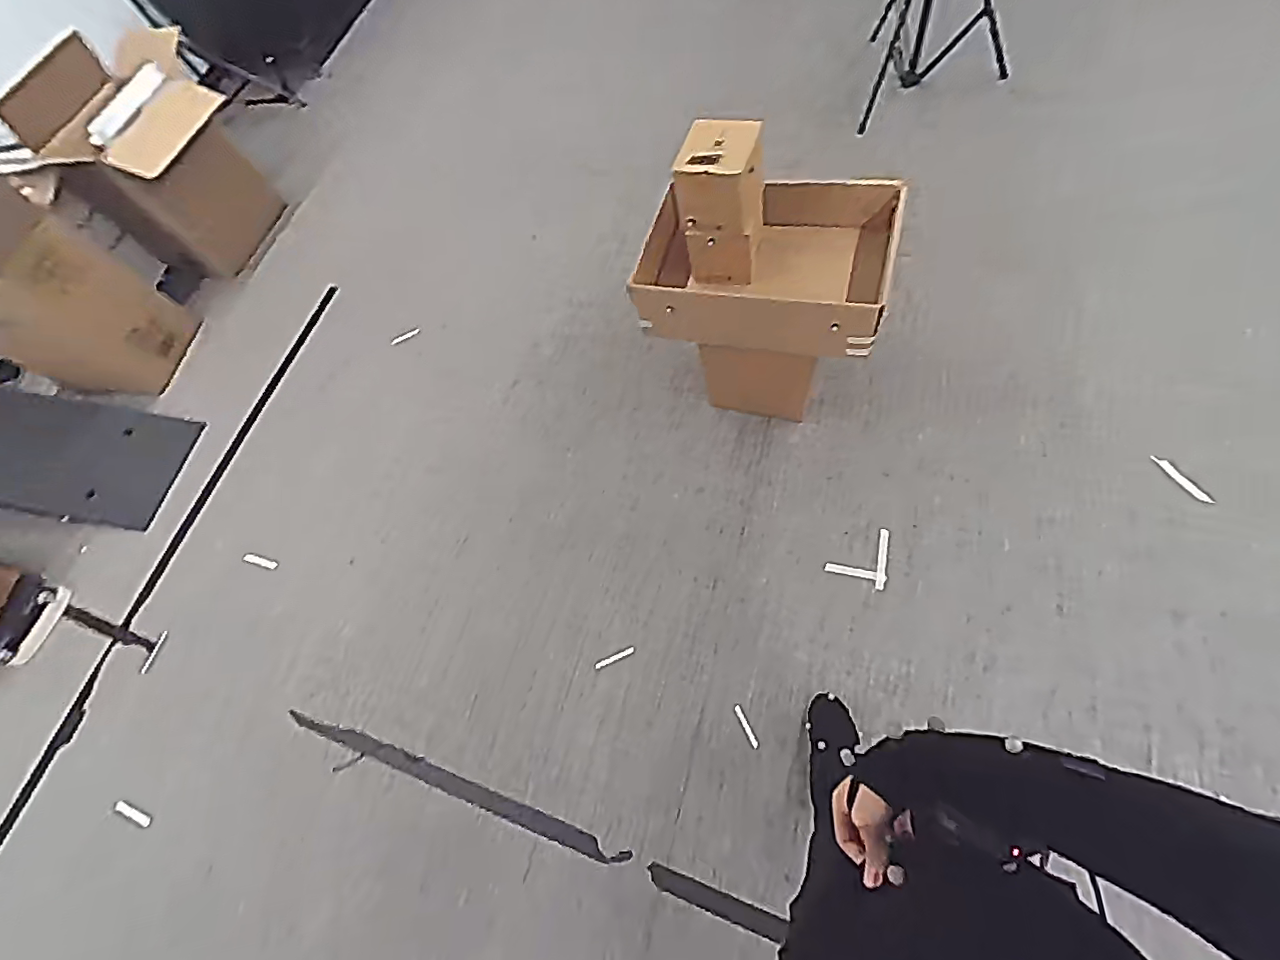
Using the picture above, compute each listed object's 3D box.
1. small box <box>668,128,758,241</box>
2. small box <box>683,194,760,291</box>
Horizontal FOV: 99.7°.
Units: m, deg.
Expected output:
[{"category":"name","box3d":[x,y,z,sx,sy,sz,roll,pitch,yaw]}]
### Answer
[{"category":"small box","box3d":[0.183,-0.704,1.295,0.168,0.176,0.179,15,70,19]},{"category":"small box","box3d":[0.221,-0.634,1.440,0.168,0.176,0.179,9,68,17]}]
